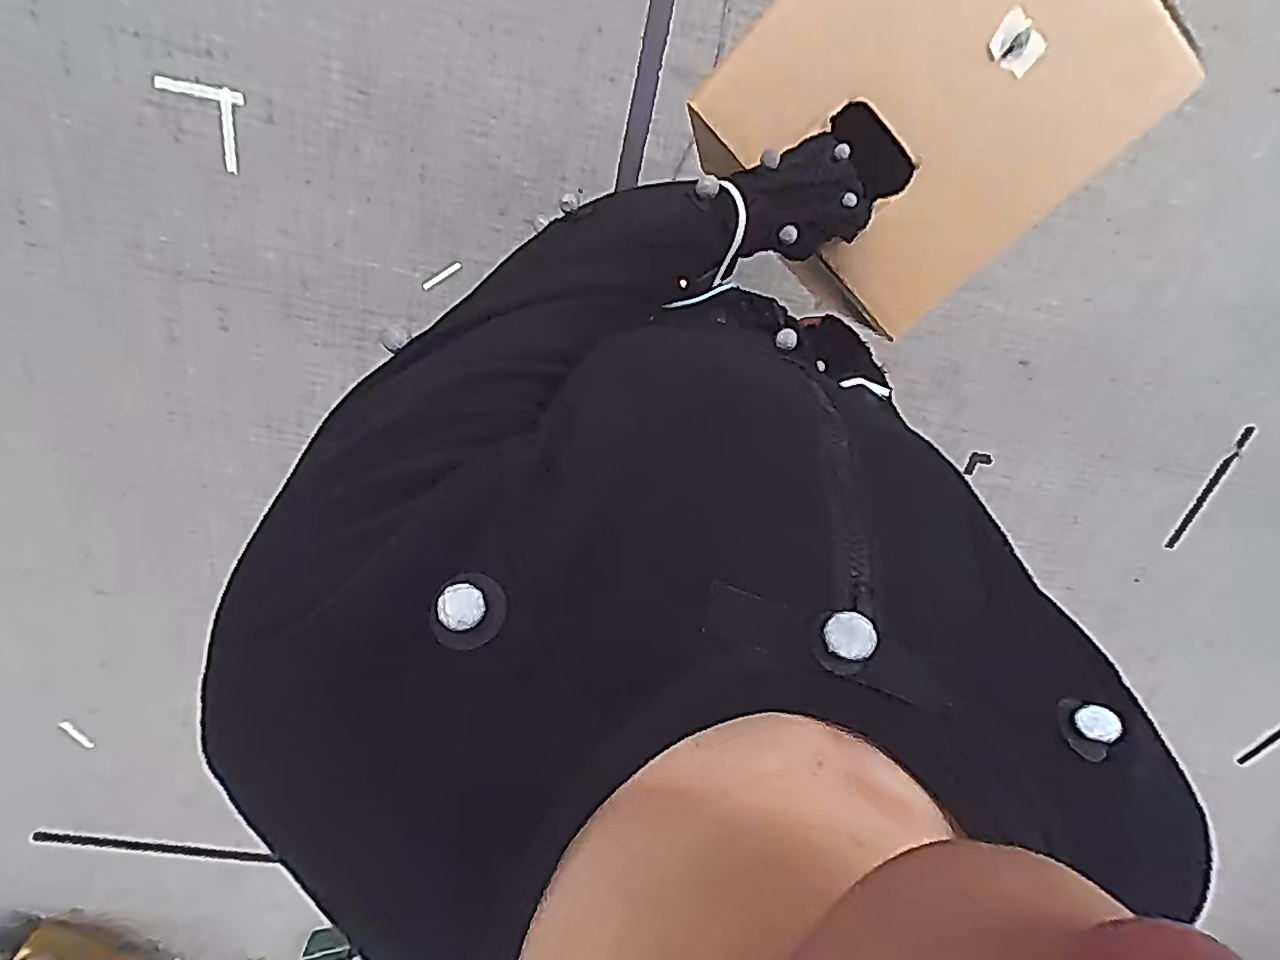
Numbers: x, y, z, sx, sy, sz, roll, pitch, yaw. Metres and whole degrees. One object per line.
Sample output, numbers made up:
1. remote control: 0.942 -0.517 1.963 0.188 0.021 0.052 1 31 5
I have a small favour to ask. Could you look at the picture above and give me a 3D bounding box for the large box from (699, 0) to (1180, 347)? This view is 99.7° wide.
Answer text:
1. large box: 0.300 -0.407 0.676 0.320 0.408 0.320 -39 100 21
